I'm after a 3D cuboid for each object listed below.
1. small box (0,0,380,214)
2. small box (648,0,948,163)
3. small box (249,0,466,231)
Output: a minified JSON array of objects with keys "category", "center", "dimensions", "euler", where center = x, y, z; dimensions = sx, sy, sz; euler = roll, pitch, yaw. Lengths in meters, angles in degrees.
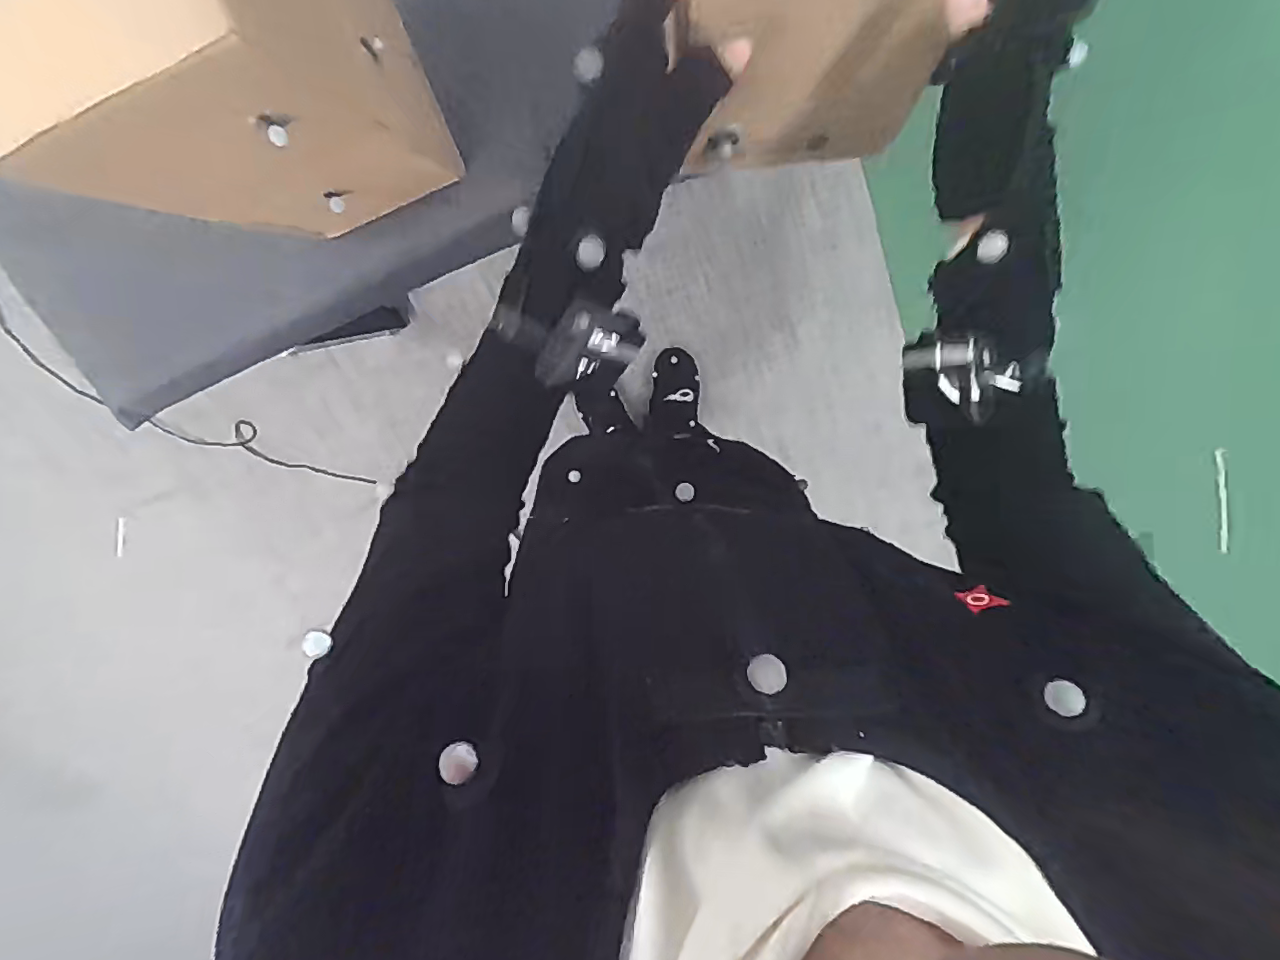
[{"category":"small box","center":[-0.302,-0.297,0.347],"dimensions":[0.179,0.176,0.168],"euler":[-20,104,10]},{"category":"small box","center":[0.093,-0.335,0.350],"dimensions":[0.168,0.176,0.179],"euler":[-5,79,-1]},{"category":"small box","center":[-0.295,-0.350,0.500],"dimensions":[0.179,0.176,0.168],"euler":[-19,106,9]}]
